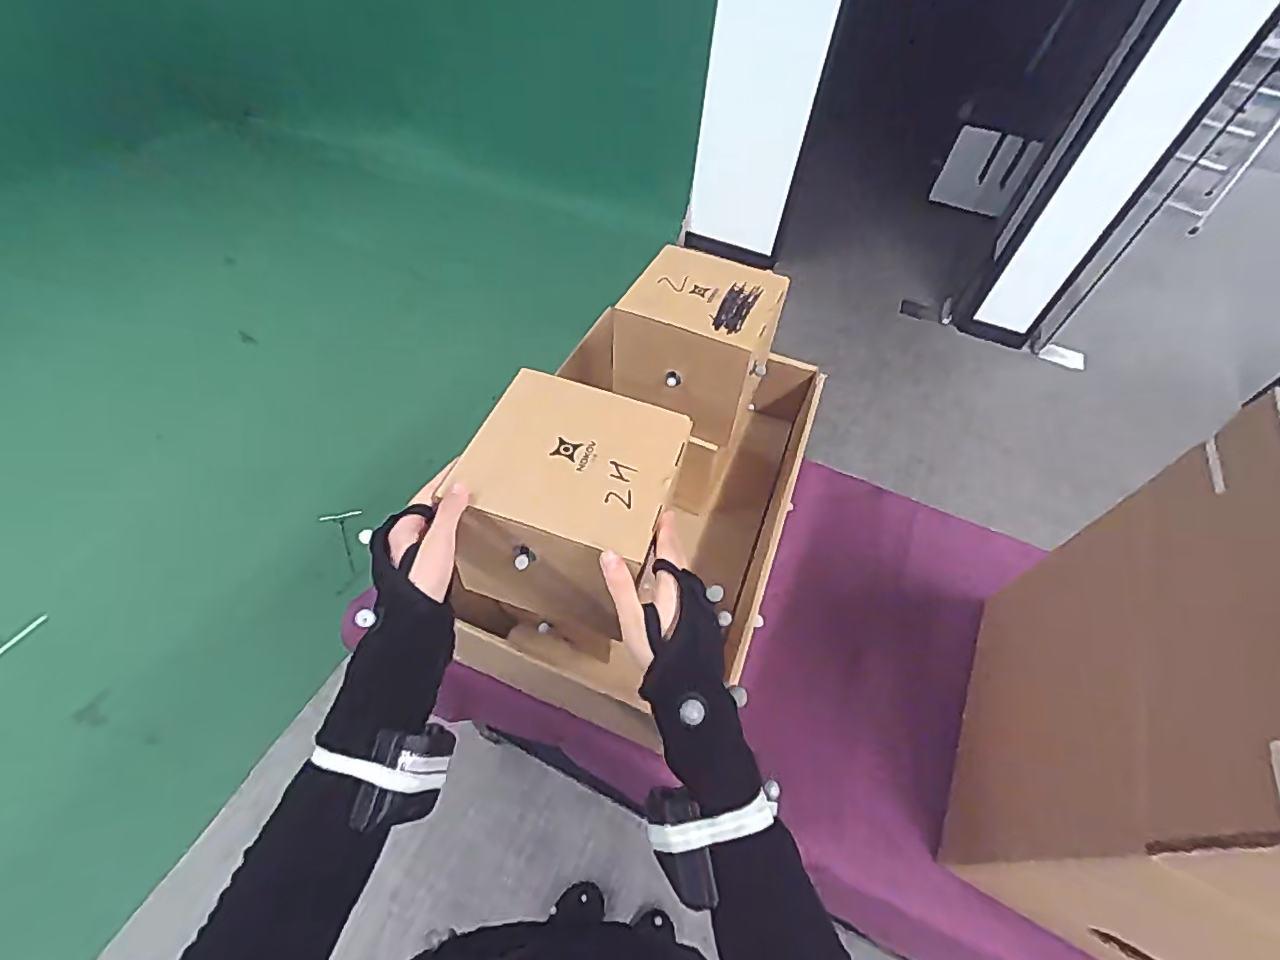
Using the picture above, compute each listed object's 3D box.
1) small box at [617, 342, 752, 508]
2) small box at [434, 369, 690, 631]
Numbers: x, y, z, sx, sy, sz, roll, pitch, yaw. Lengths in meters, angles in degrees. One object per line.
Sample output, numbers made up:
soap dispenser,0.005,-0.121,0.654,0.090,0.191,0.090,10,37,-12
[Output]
small box,0.061,-0.083,0.863,0.168,0.176,0.179,22,55,13
small box,-0.067,0.026,0.529,0.179,0.176,0.168,18,54,5
